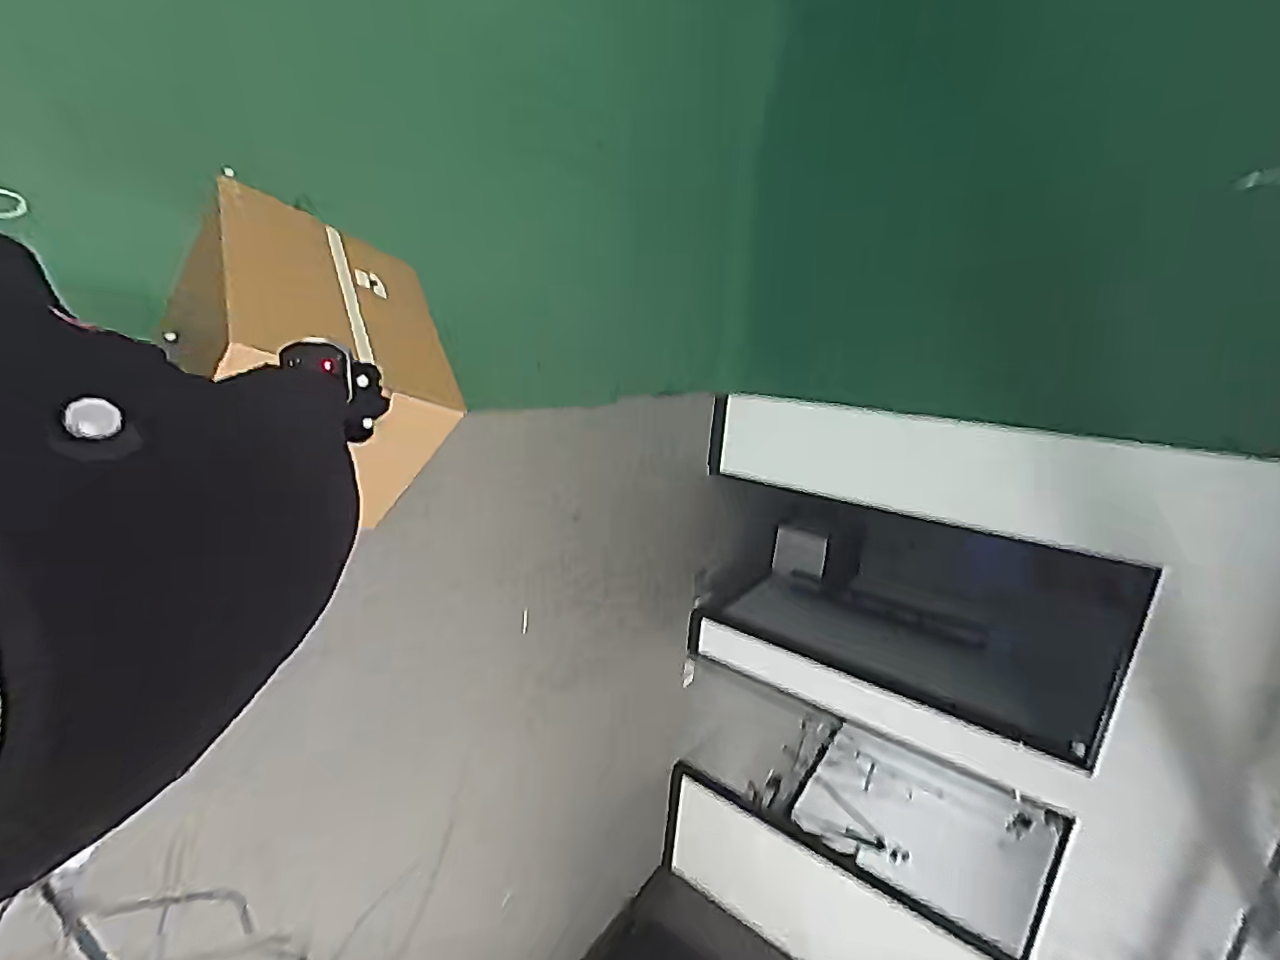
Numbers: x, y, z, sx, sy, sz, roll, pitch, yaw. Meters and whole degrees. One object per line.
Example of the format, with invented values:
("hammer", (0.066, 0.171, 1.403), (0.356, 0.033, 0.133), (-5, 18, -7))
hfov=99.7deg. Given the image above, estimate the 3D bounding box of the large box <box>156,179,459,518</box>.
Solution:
("large box", (-0.562, -0.191, 0.898), (0.320, 0.408, 0.320), (-44, 147, 22))
